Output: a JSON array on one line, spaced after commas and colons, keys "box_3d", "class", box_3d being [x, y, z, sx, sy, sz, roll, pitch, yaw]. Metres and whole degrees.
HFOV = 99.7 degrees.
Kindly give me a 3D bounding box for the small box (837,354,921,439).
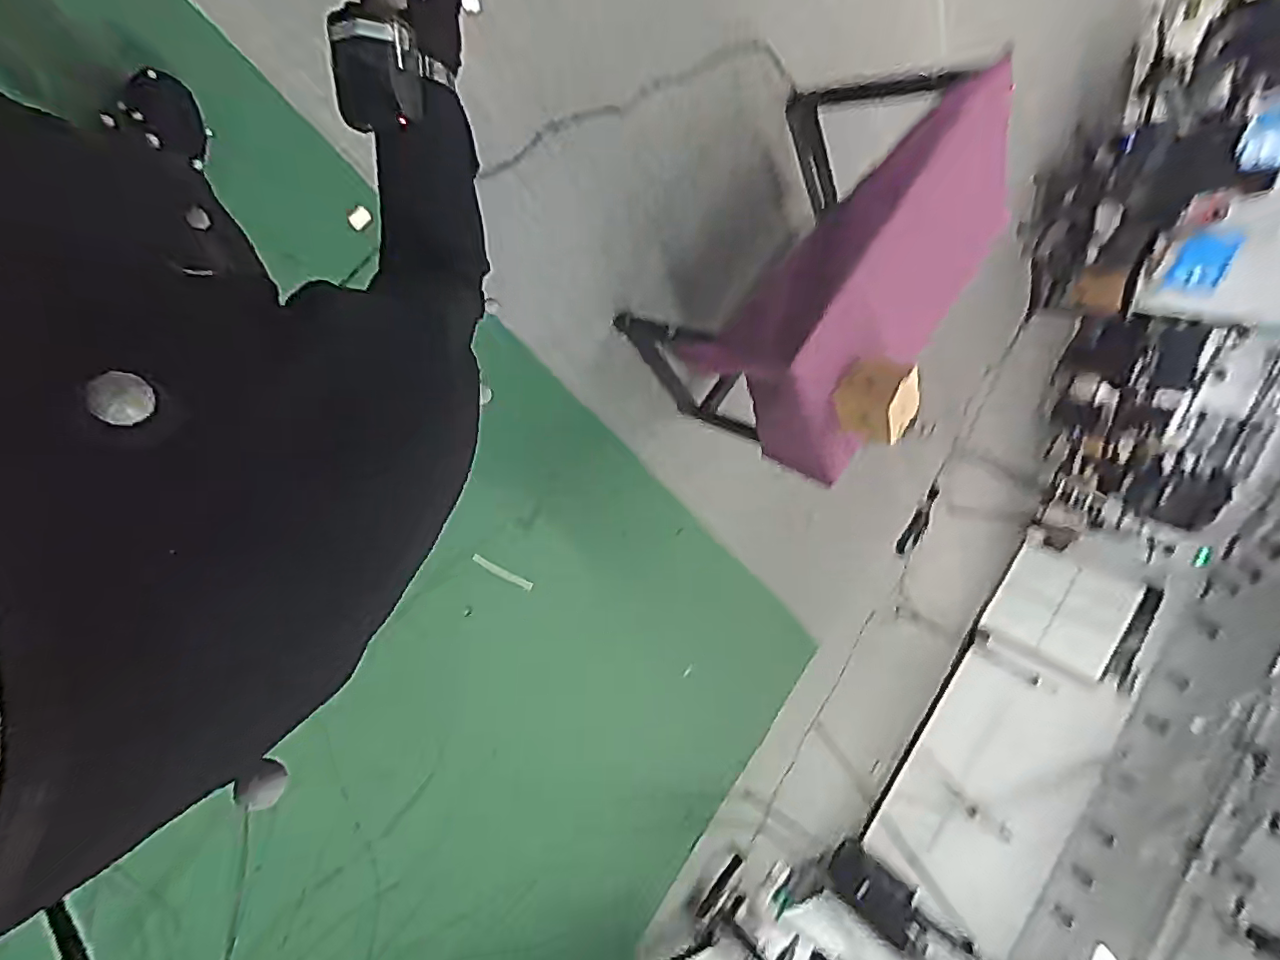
[{"box_3d": [0.701, -0.253, 1.594, 0.168, 0.176, 0.179, -49, 137, -13], "class": "small box"}]
